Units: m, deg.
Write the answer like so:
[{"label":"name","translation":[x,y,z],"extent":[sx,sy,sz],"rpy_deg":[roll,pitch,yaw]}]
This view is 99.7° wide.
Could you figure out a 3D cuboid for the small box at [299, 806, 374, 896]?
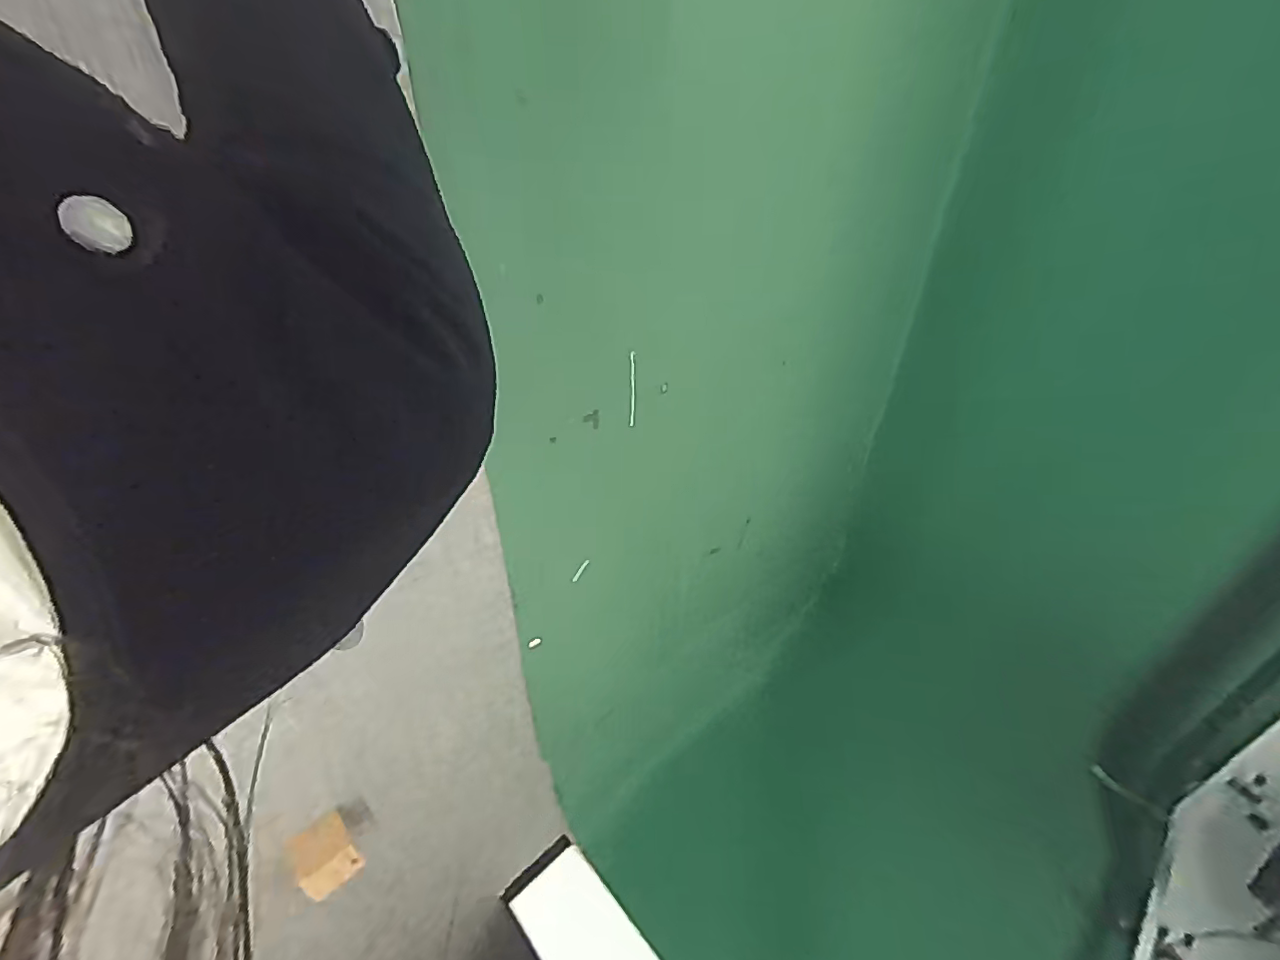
[{"label":"small box","translation":[-1.096,1.328,1.943],"extent":[0.179,0.176,0.168],"rpy_deg":[-29,134,-33]}]
